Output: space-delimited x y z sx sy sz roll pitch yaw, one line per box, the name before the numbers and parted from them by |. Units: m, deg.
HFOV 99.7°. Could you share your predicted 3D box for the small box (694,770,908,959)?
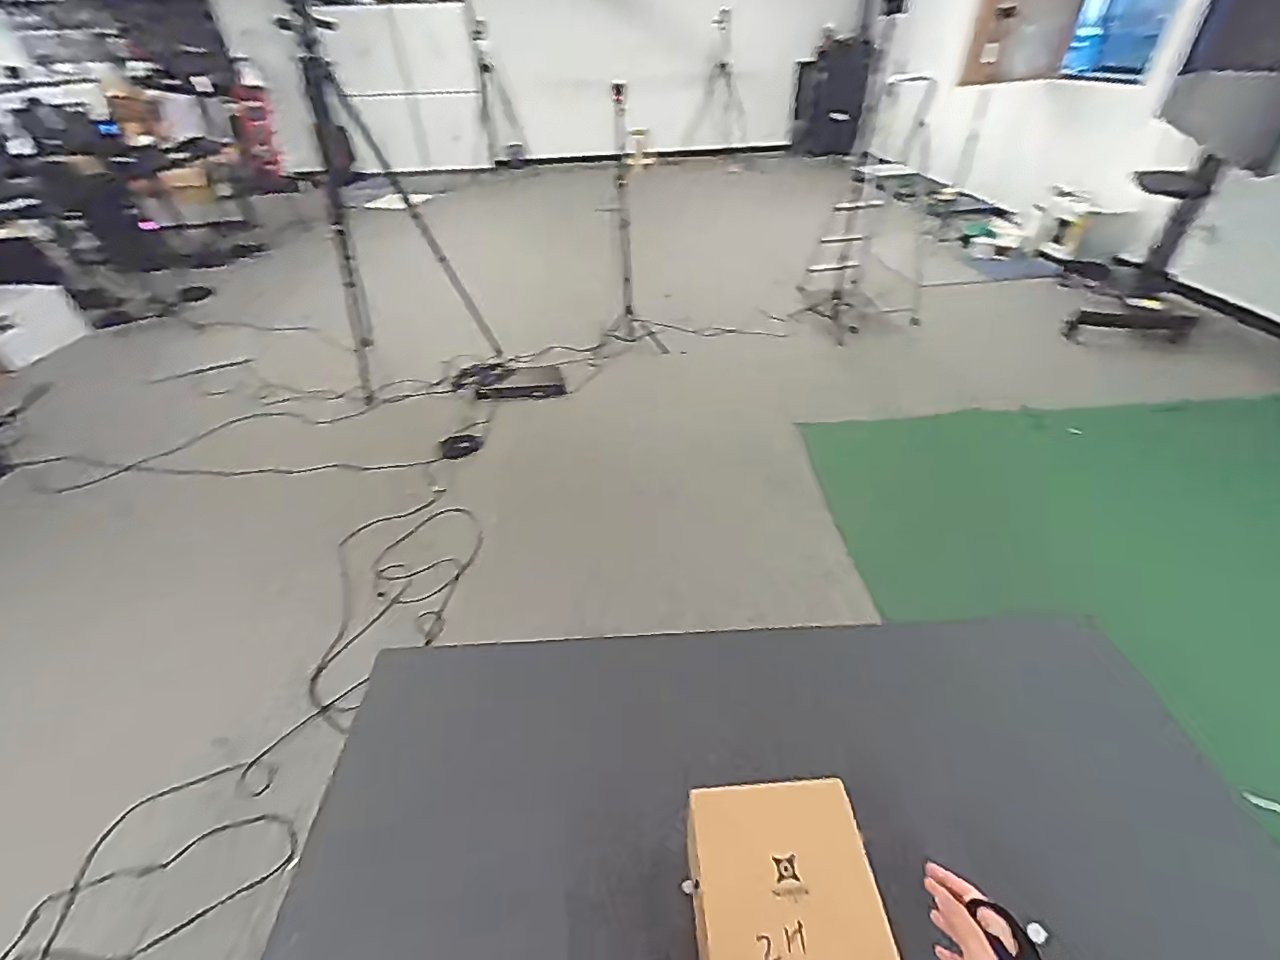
small box | 0.148 0.434 0.566 0.168 0.176 0.179 -4 39 0
